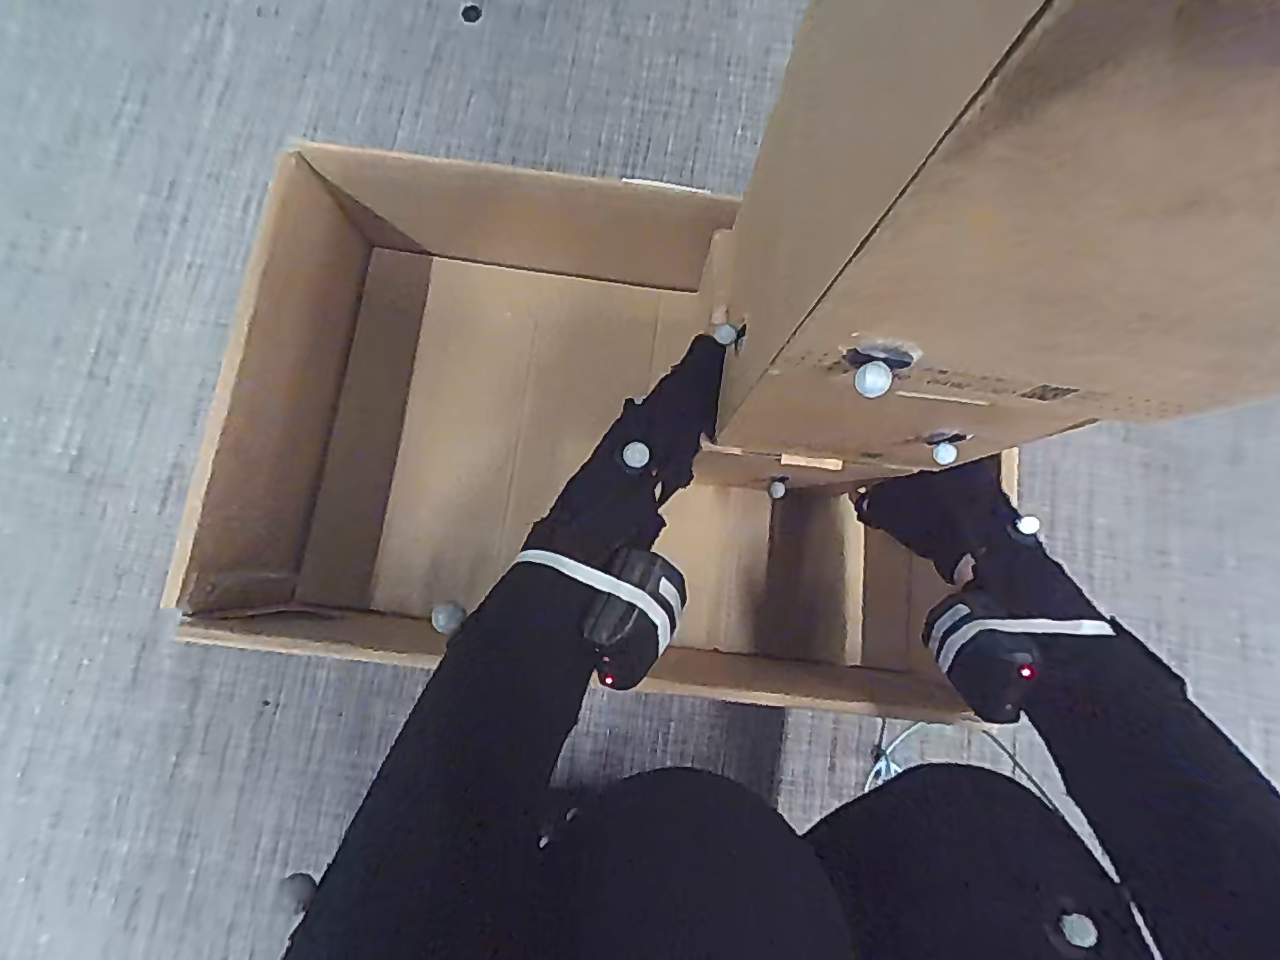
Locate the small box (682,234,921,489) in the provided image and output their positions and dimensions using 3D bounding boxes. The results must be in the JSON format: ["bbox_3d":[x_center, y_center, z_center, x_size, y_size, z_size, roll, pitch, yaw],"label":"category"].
[{"bbox_3d":[0.127,-0.088,0.480,0.168,0.176,0.179,2,81,0],"label":"small box"}]

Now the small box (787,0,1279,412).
[{"bbox_3d":[0.150,-0.129,0.154,0.168,0.176,0.179,8,82,-1],"label":"small box"}]

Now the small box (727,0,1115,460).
[{"bbox_3d":[0.148,-0.114,0.300,0.168,0.176,0.179,7,82,-1],"label":"small box"}]
